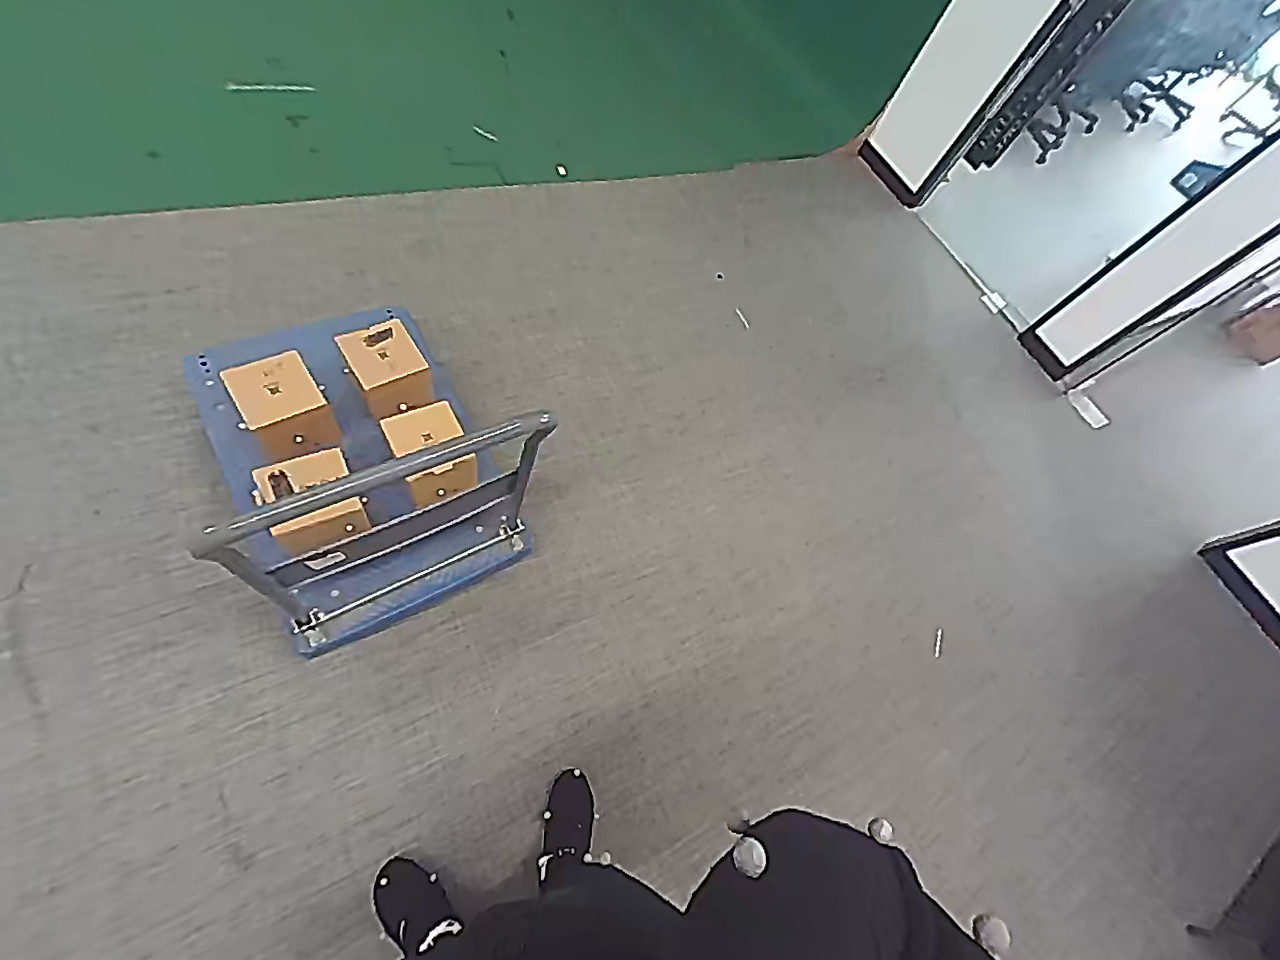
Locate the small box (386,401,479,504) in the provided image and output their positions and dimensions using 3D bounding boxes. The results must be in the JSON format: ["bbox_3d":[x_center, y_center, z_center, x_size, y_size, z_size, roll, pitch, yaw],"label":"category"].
[{"bbox_3d":[-0.526,-0.067,1.379,0.168,0.176,0.179,-24,73,-26],"label":"small box"}]

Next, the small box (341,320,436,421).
[{"bbox_3d":[-0.666,-0.288,1.447,0.168,0.176,0.179,-29,76,-26],"label":"small box"}]

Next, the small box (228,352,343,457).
[{"bbox_3d":[-0.862,-0.178,1.333,0.168,0.176,0.179,-29,75,-28],"label":"small box"}]
